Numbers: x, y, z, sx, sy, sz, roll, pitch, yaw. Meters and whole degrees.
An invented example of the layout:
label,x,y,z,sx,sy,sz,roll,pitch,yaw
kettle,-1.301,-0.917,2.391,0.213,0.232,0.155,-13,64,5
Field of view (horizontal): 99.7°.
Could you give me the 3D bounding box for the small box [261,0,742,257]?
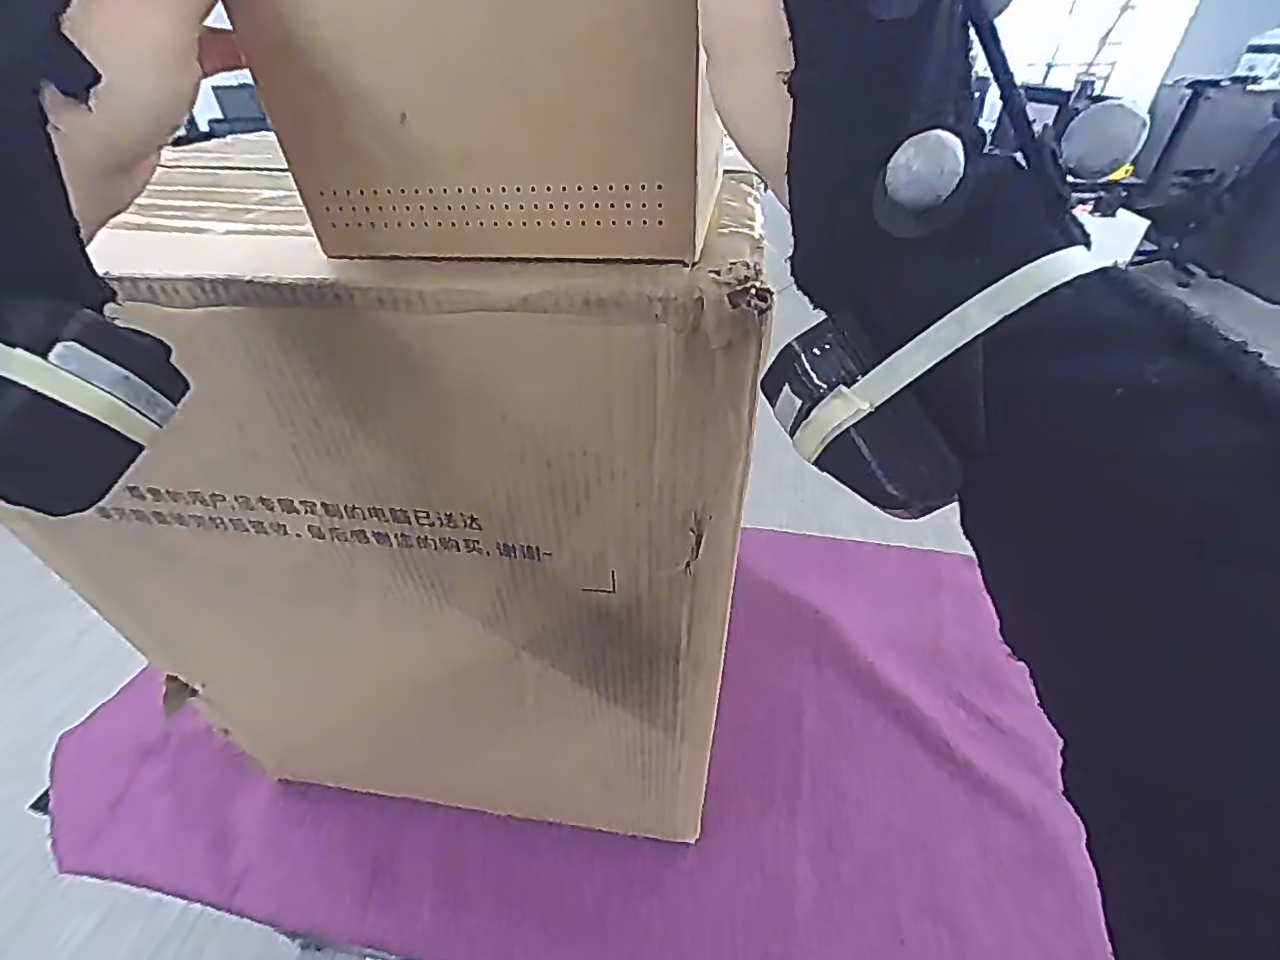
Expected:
label,x,y,z,sx,sy,sz,roll,pitch,yaw
small box,-0.046,-0.210,0.245,0.179,0.176,0.168,5,40,9
